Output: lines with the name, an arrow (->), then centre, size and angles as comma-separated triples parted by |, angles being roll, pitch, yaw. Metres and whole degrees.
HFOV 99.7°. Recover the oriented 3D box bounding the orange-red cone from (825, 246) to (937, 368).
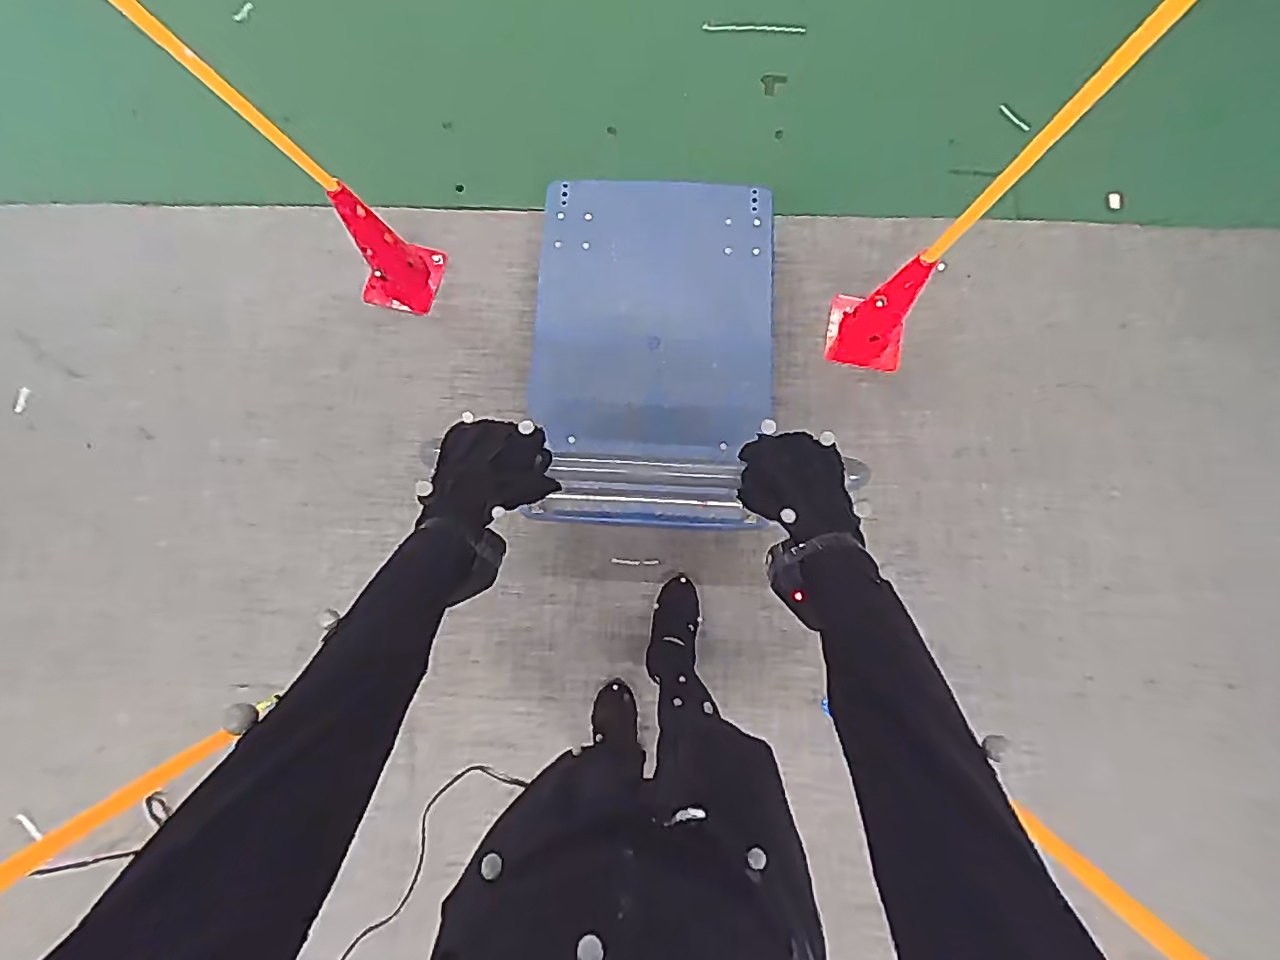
orange-red cone -> 0.610, -0.440, 1.304 | 0.198, 0.360, 0.199 | 13, 80, 4
